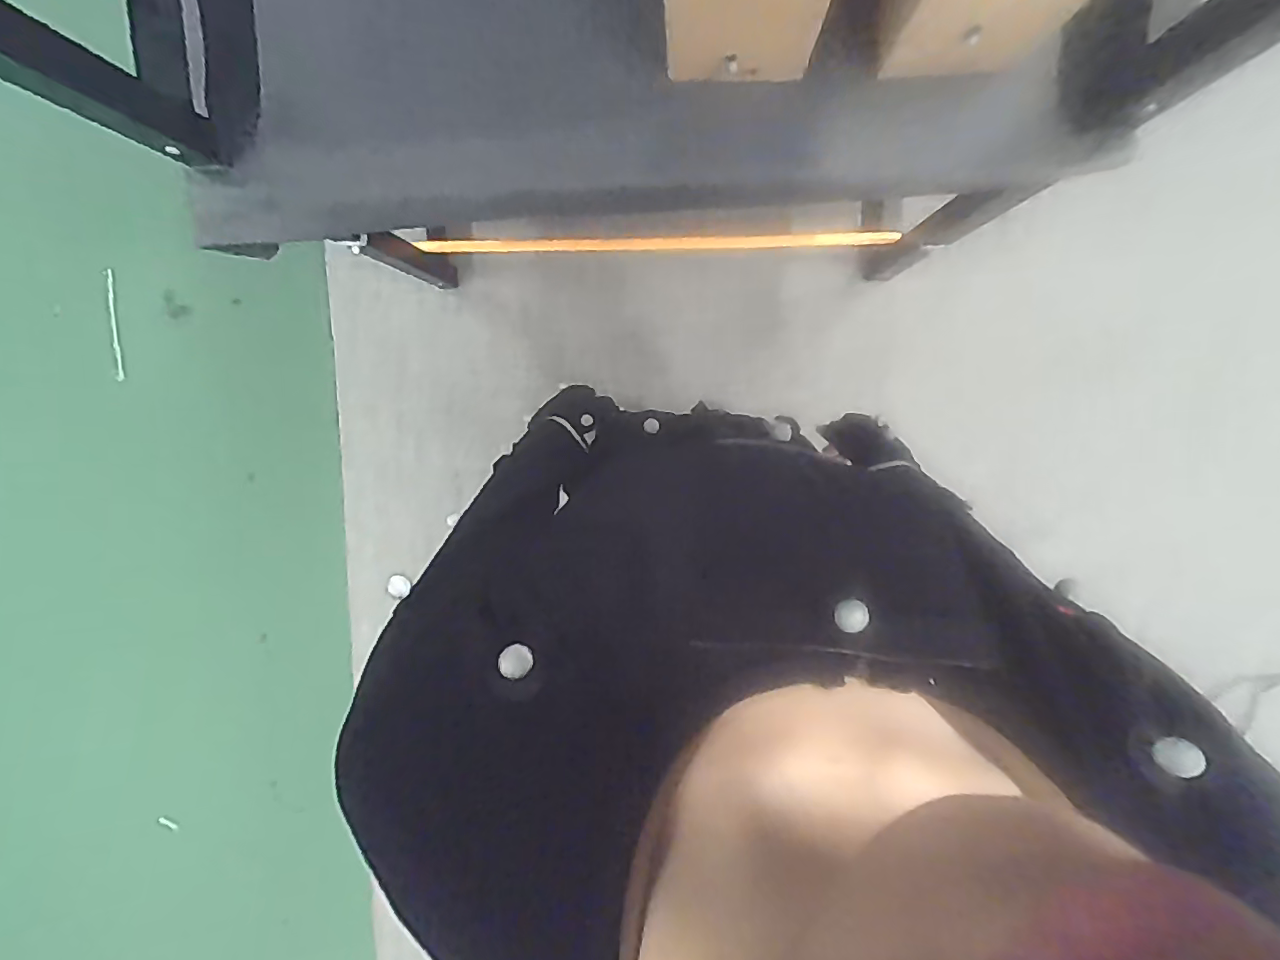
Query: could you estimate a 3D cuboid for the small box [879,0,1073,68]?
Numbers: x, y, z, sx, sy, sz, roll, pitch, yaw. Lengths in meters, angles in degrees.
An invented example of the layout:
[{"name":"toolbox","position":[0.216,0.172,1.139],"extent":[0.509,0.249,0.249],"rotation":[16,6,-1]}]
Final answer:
[{"name":"small box","position":[0.360,-0.561,0.557],"extent":[0.168,0.176,0.179],"rotation":[1,98,5]}]
